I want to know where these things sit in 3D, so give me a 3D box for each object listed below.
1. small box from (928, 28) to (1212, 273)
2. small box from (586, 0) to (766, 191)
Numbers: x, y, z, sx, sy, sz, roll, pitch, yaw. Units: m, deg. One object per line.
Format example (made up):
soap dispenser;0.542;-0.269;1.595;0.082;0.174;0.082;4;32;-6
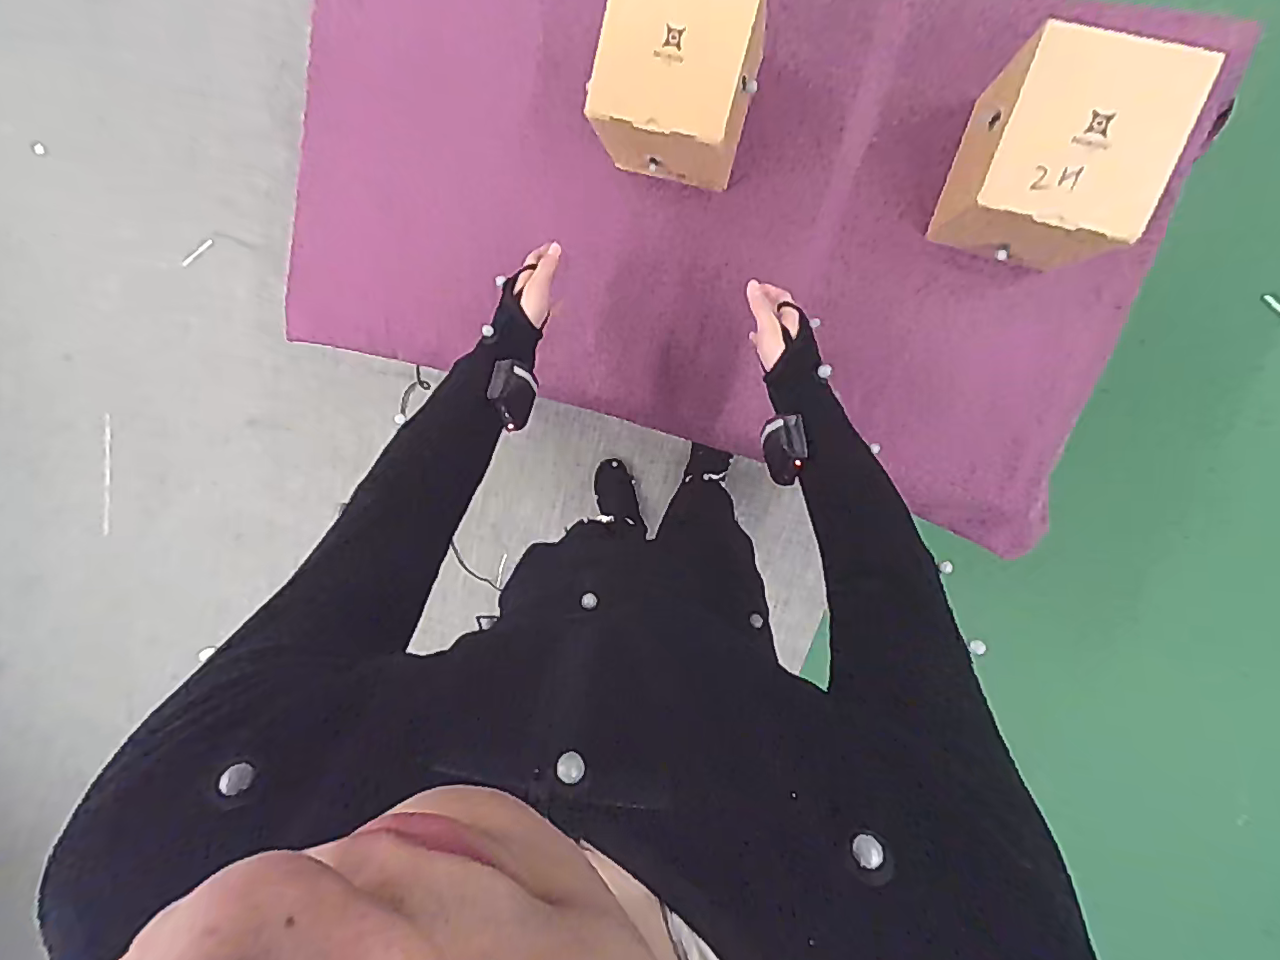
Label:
small box;0.466;-0.360;0.625;0.168;0.176;0.179;18;104;7
small box;0.048;-0.491;0.672;0.168;0.176;0.179;17;105;5
